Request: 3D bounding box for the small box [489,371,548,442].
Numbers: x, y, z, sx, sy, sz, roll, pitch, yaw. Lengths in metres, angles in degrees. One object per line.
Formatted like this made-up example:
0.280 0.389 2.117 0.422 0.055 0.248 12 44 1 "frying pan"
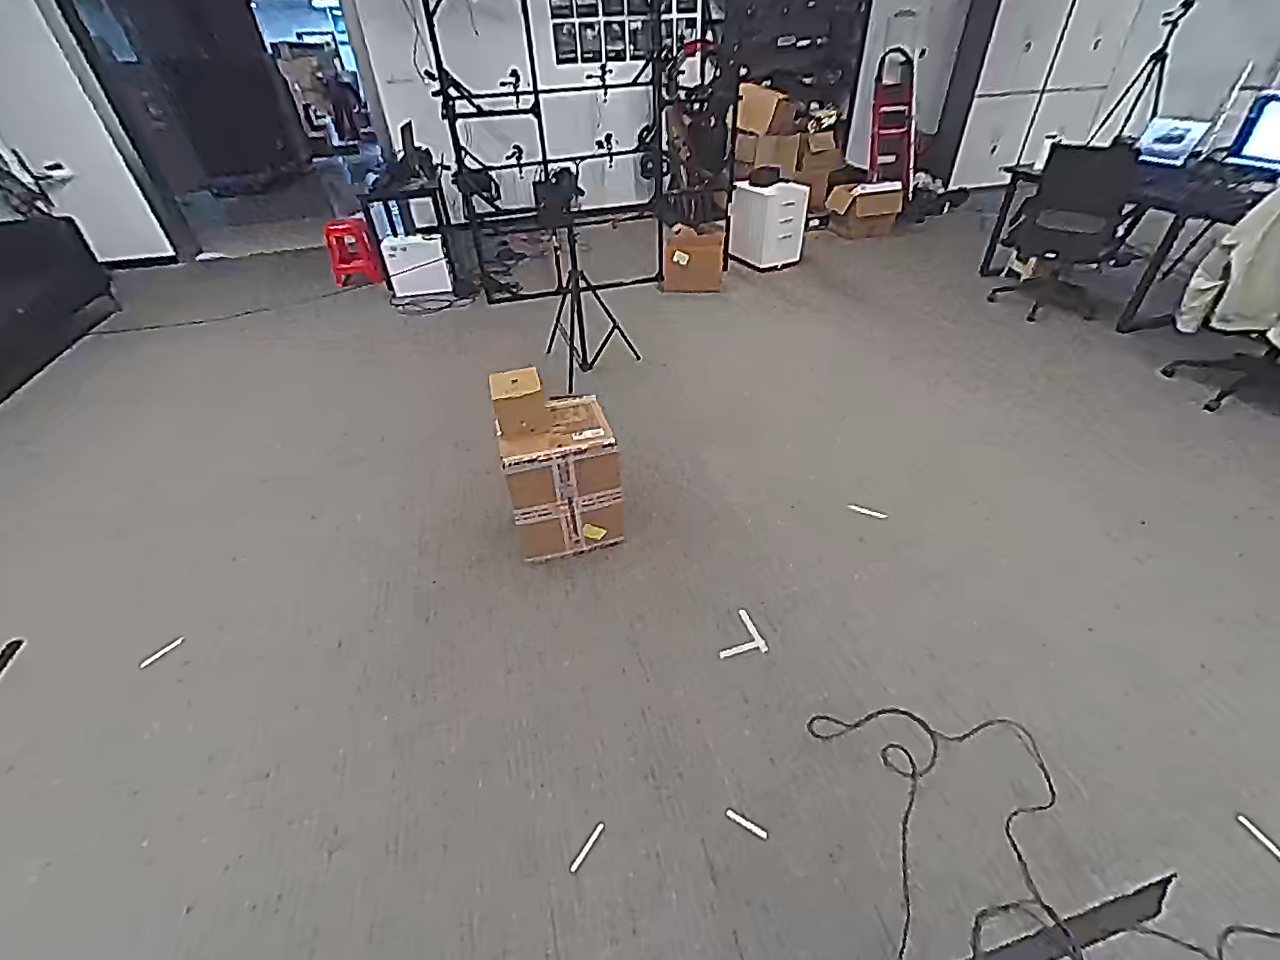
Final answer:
-0.425 -0.257 1.891 0.168 0.176 0.179 -13 42 -10 "small box"
